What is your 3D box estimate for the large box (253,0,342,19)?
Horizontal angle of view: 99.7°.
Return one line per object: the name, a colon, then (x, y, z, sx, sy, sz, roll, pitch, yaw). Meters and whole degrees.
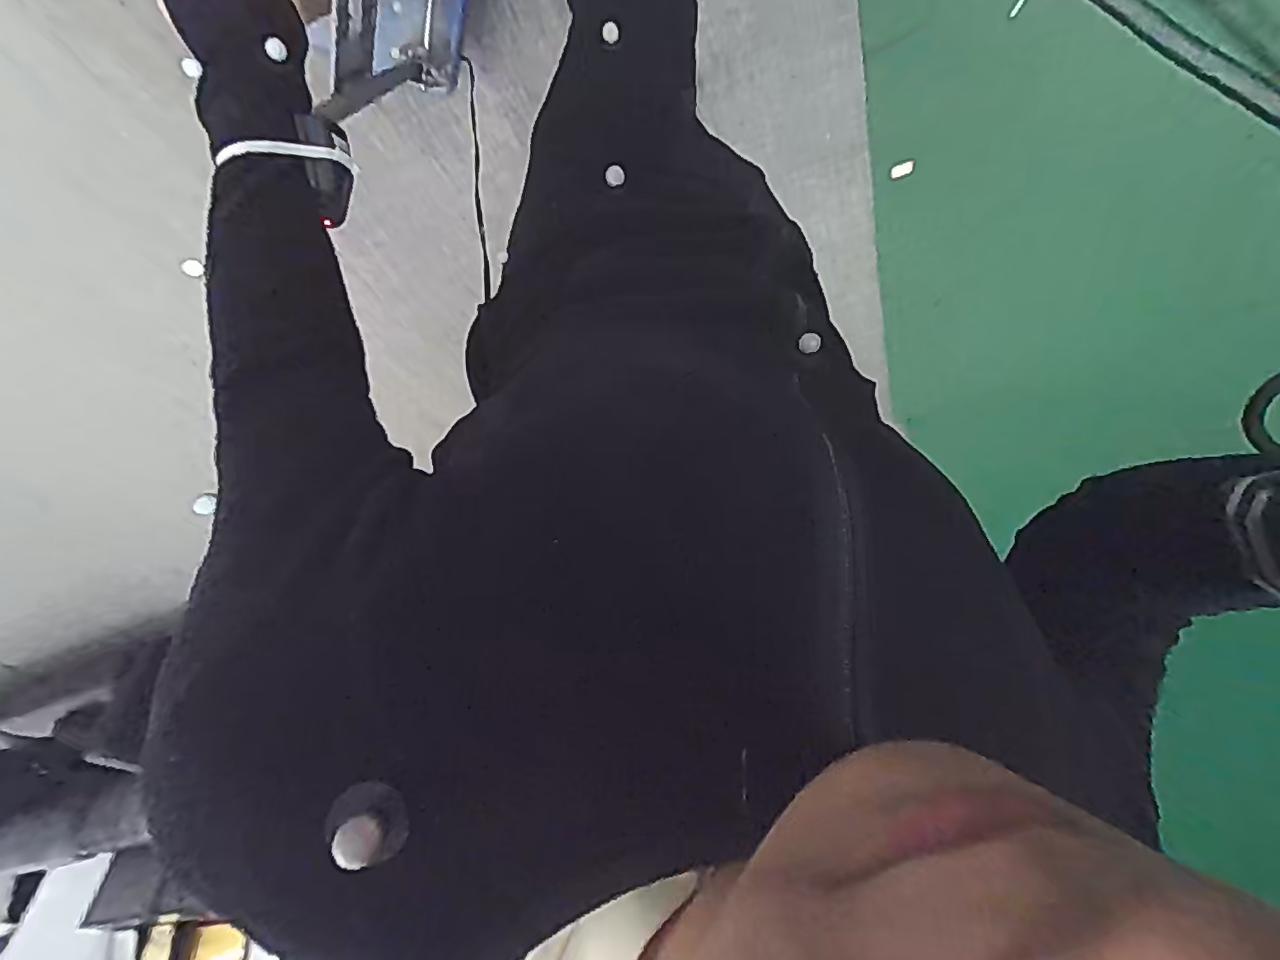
large box: (-0.565, -0.856, 0.647, 0.408, 0.320, 0.320, 15, 134, -19)
